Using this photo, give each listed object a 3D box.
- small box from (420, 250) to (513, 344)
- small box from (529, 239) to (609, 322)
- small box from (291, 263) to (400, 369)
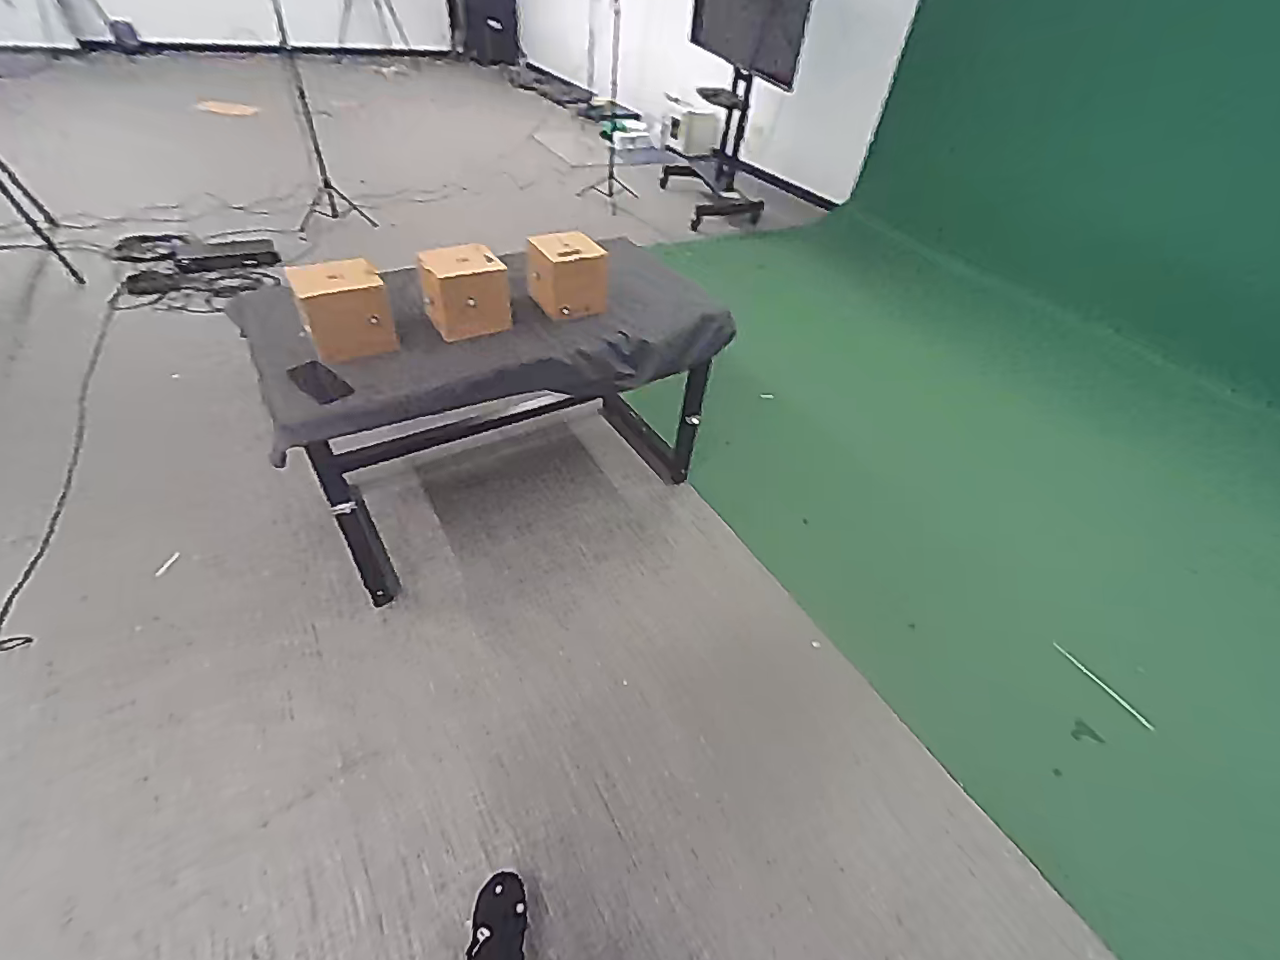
[{"bbox_3d":[-0.442,-0.470,1.396,0.179,0.176,0.168,-21,51,-27],"label":"small box"},{"bbox_3d":[-0.200,-0.556,1.522,0.168,0.176,0.179,-19,49,-26],"label":"small box"},{"bbox_3d":[-0.685,-0.387,1.274,0.179,0.176,0.168,-23,51,-28],"label":"small box"}]
